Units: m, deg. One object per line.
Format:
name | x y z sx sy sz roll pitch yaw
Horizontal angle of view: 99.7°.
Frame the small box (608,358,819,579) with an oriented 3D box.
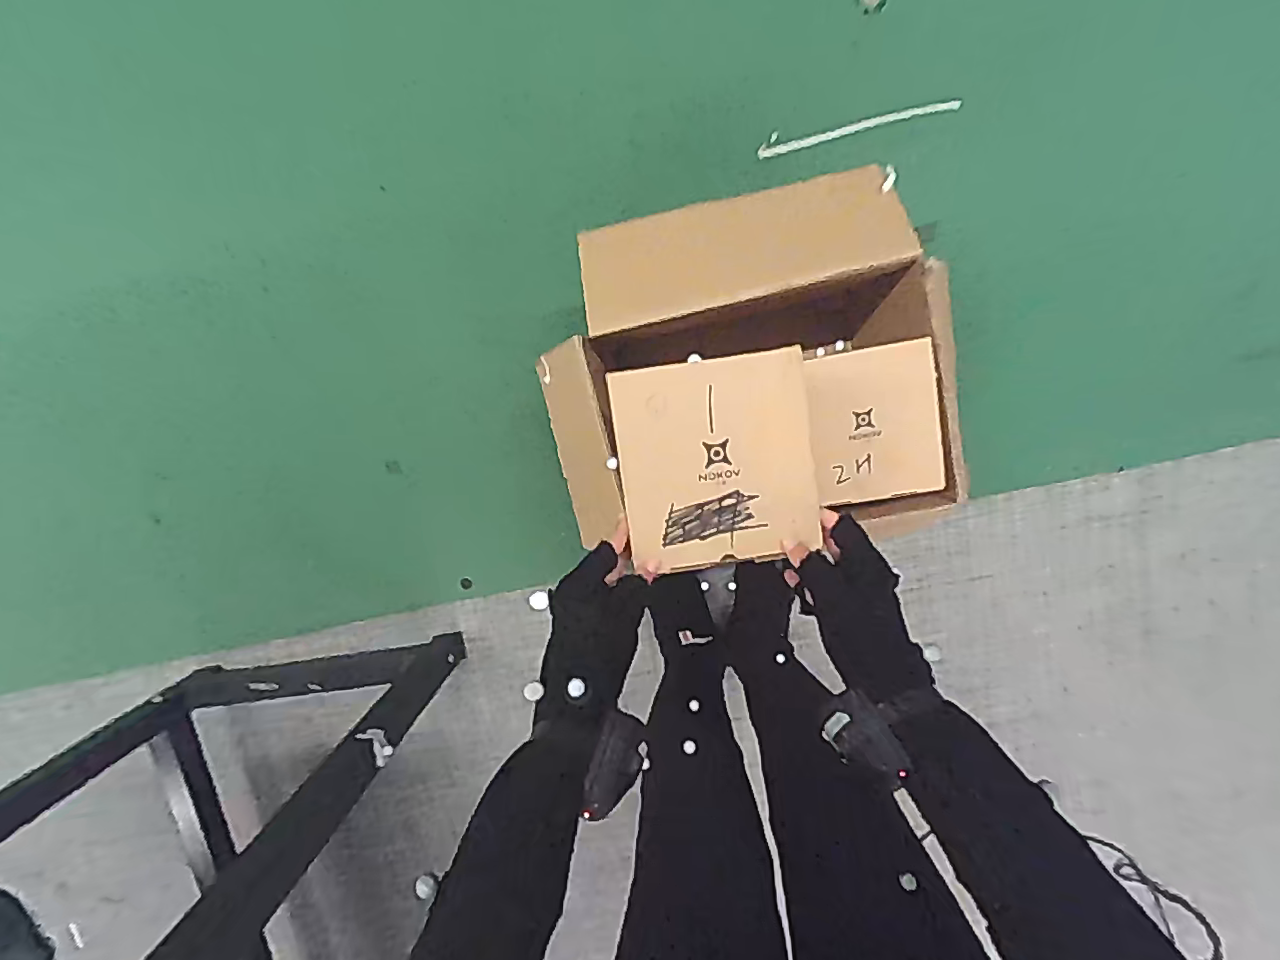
small box | 0.065 -0.015 0.541 0.168 0.176 0.179 -8 94 1
